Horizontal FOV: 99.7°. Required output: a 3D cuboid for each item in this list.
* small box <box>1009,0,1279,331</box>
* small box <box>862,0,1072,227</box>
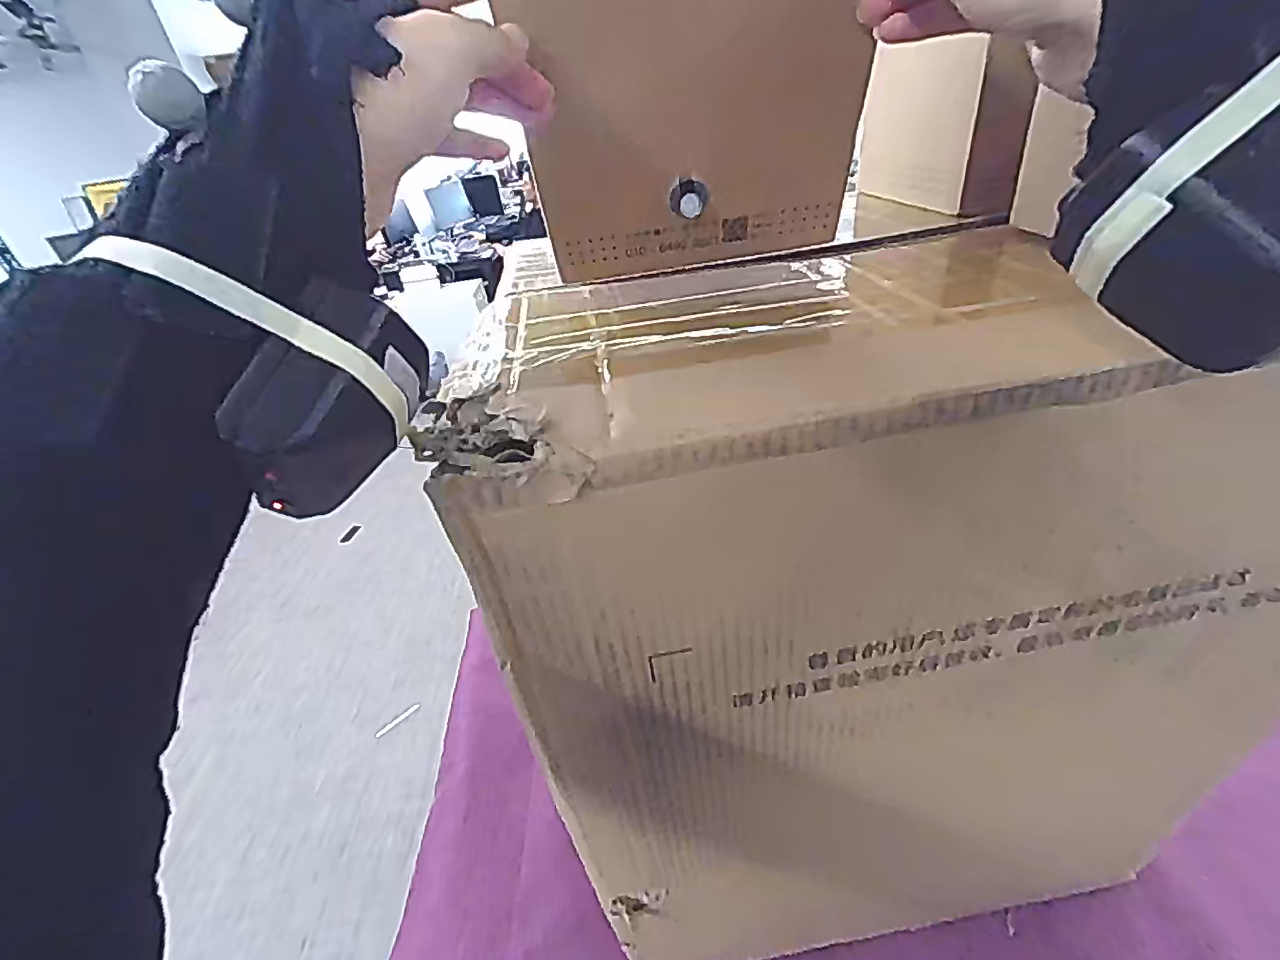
[{"bbox_3d":[0.308,-0.184,0.231,0.168,0.176,0.179,-9,33,1],"label":"small box"},{"bbox_3d":[0.284,-0.300,0.409,0.168,0.176,0.179,-9,34,1],"label":"small box"}]
